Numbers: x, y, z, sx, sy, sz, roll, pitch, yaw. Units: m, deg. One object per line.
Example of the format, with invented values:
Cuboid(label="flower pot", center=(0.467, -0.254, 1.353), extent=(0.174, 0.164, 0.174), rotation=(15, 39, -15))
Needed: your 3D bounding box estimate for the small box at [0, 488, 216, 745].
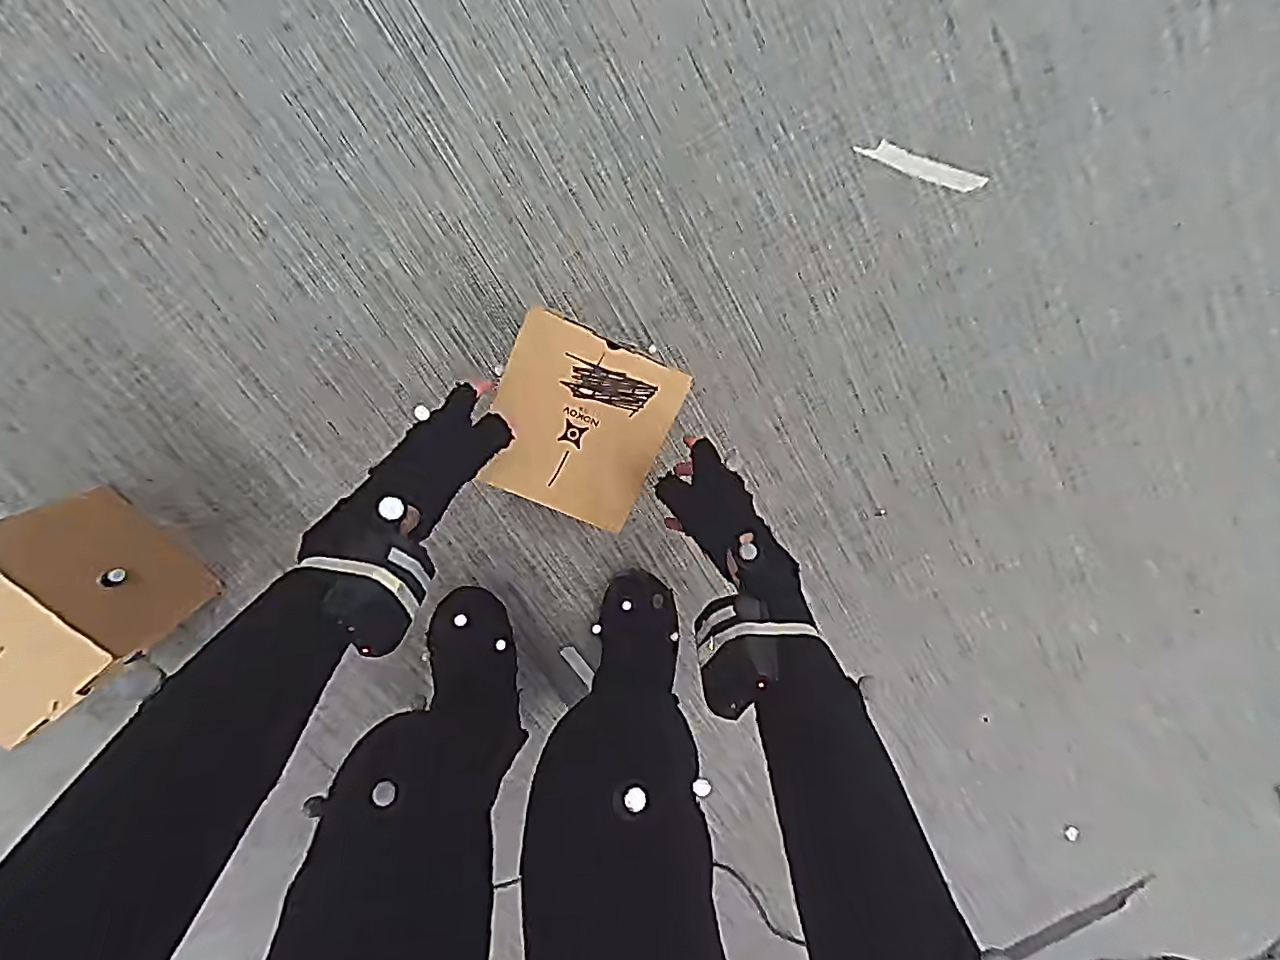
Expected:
Cuboid(label="small box", center=(-0.631, 0.136, 0.591), extent=(0.168, 0.176, 0.179), rotation=(-38, 106, 5))

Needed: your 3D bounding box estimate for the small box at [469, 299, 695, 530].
Cuboid(label="small box", center=(-0.063, -0.077, 0.589), extent=(0.168, 0.176, 0.179), rotation=(23, 103, -11))
